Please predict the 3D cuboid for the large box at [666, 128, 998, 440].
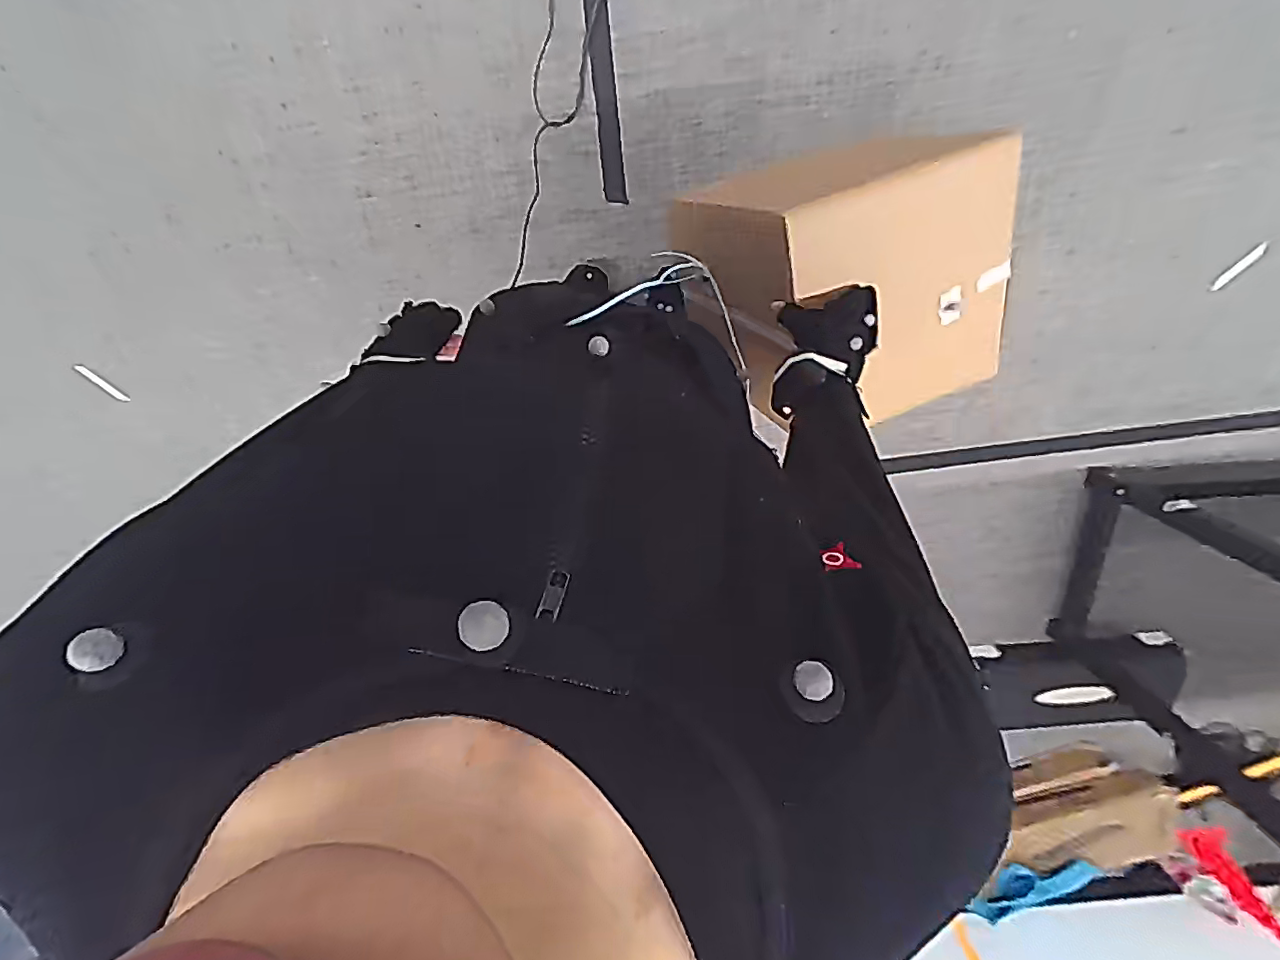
[{"bbox_3d":[0.280,-0.320,0.864,0.320,0.408,0.320,-23,122,-5],"label":"large box"}]
